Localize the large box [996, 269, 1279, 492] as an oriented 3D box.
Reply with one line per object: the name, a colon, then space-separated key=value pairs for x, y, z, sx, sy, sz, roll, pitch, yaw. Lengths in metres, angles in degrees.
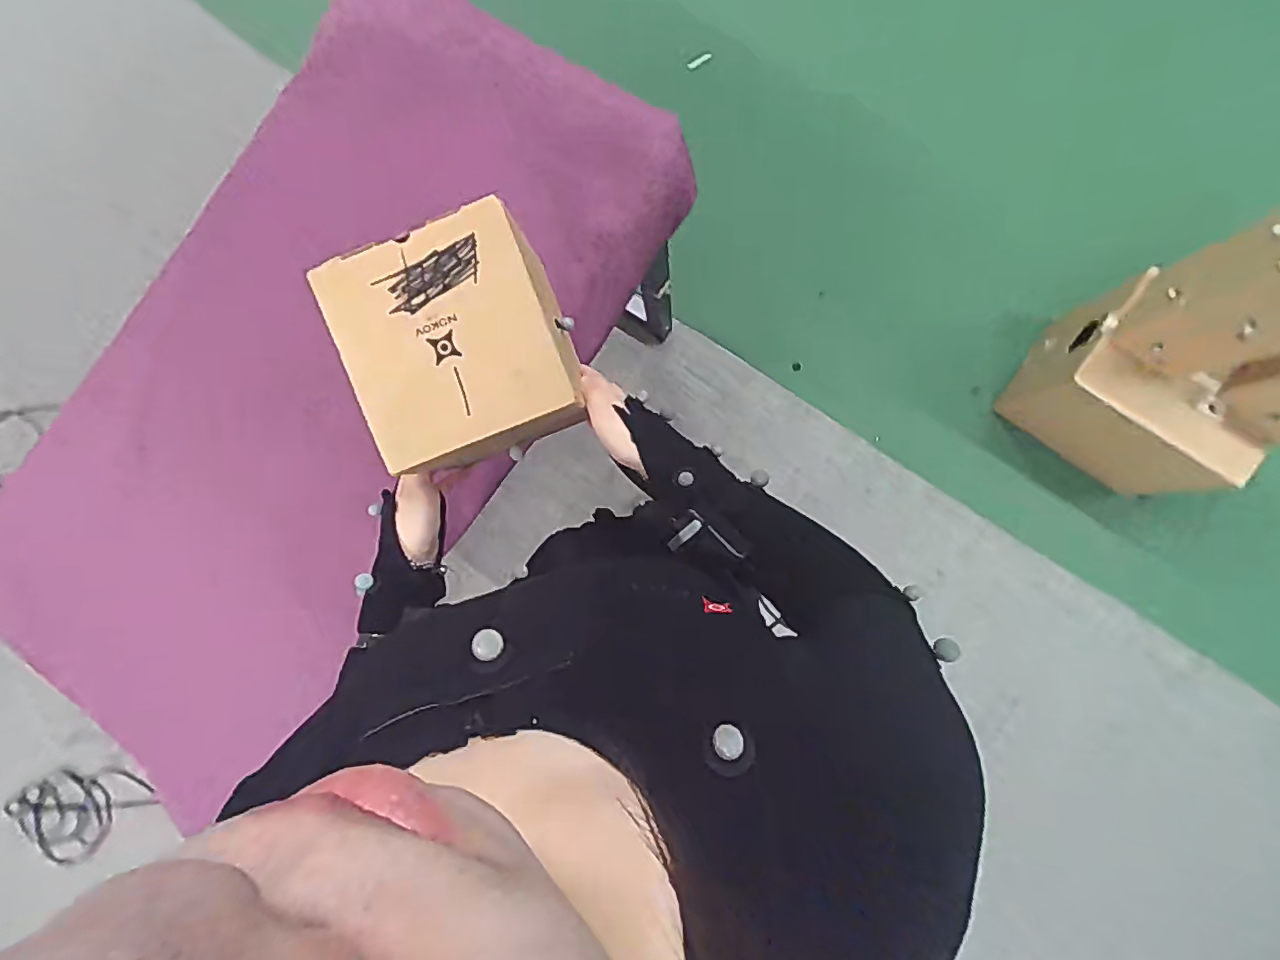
large box: x=1.186 y=-0.212 z=1.290 sx=0.408 sy=0.320 sz=0.320 roll=36 pitch=89 yaw=5

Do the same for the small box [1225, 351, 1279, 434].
small box: x=1.316 y=-0.194 z=1.032 sx=0.179 sy=0.176 sz=0.168 roll=41 pitch=89 yaw=7

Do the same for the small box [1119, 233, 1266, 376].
small box: x=1.112 y=-0.334 z=1.061 sx=0.168 sy=0.176 sz=0.179 roll=36 pitch=89 yaw=5

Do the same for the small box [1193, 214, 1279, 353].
small box: x=1.101 y=-0.343 z=0.897 sx=0.168 sy=0.176 sz=0.179 roll=35 pitch=89 yaw=6

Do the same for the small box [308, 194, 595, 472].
small box: x=-0.151 y=-0.115 z=0.497 sx=0.168 sy=0.176 sz=0.179 roll=-20 pitch=93 yaw=3
